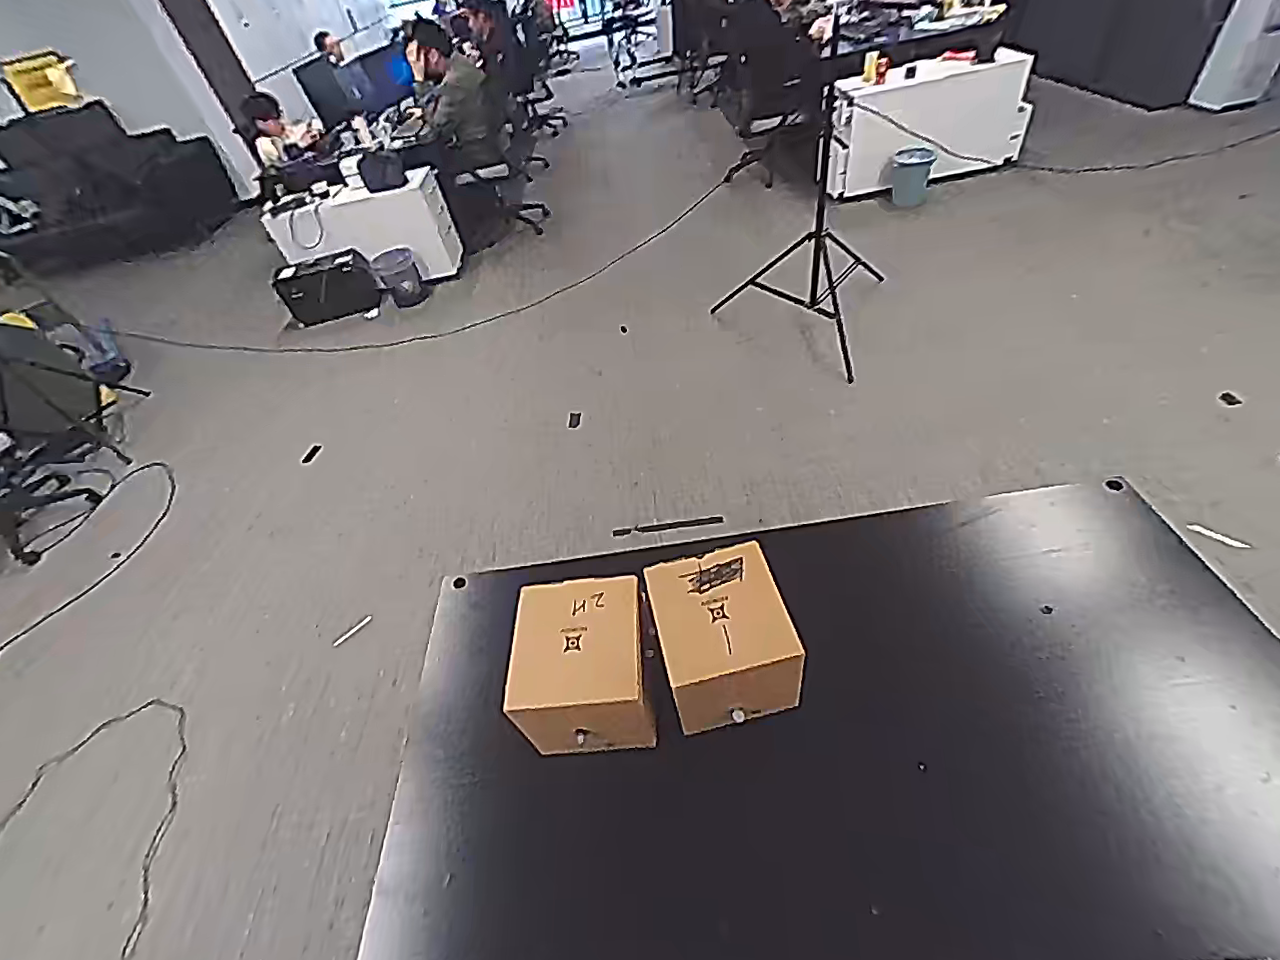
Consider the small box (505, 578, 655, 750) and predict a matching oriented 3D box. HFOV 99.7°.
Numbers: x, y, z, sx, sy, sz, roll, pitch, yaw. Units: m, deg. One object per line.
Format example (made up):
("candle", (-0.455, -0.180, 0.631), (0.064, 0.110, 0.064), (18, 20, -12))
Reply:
("small box", (-0.073, 0.262, 0.756), (0.168, 0.176, 0.179), (-7, 45, 5))
